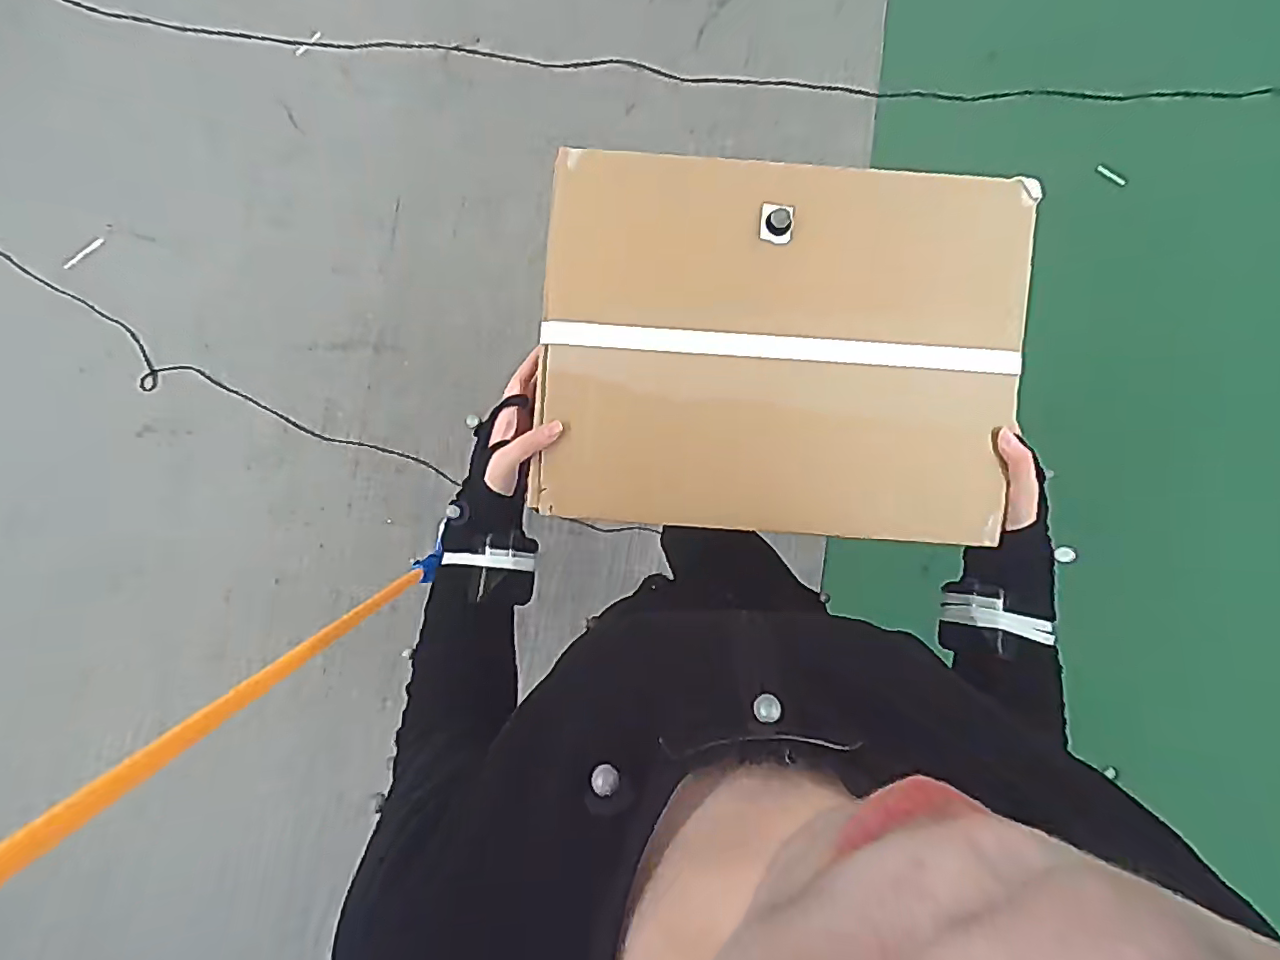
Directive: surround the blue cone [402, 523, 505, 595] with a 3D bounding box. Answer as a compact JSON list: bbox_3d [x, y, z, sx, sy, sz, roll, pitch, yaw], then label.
[{"bbox_3d":[-0.464,0.211,1.302,0.192,0.380,0.193,5,89,0],"label":"blue cone"}]
